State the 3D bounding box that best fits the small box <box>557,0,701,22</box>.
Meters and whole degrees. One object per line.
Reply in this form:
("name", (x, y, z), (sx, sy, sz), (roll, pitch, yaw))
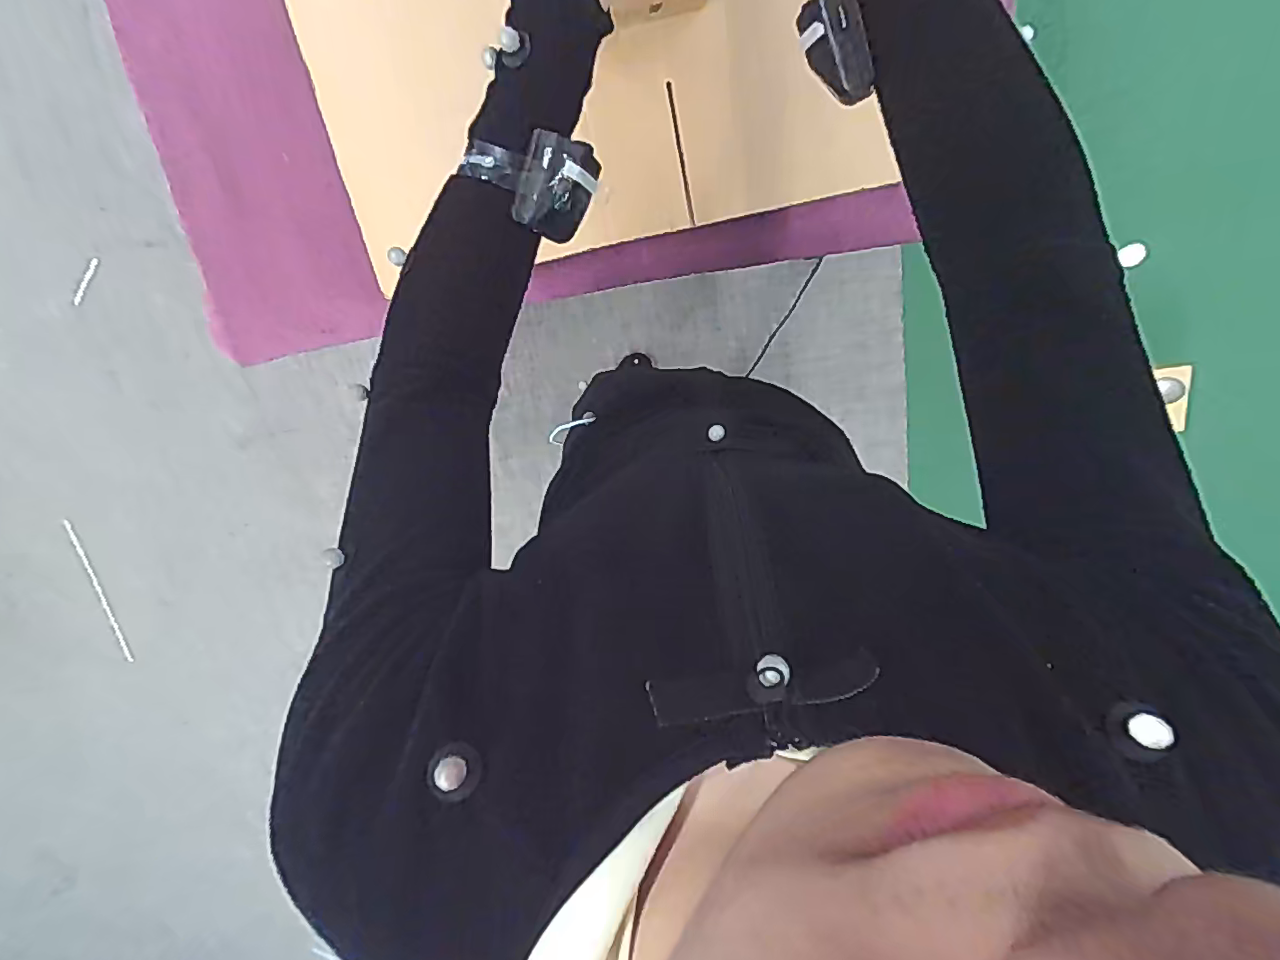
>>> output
("small box", (-0.014, -0.560, 0.487), (0.168, 0.176, 0.179), (-14, 103, -2))
